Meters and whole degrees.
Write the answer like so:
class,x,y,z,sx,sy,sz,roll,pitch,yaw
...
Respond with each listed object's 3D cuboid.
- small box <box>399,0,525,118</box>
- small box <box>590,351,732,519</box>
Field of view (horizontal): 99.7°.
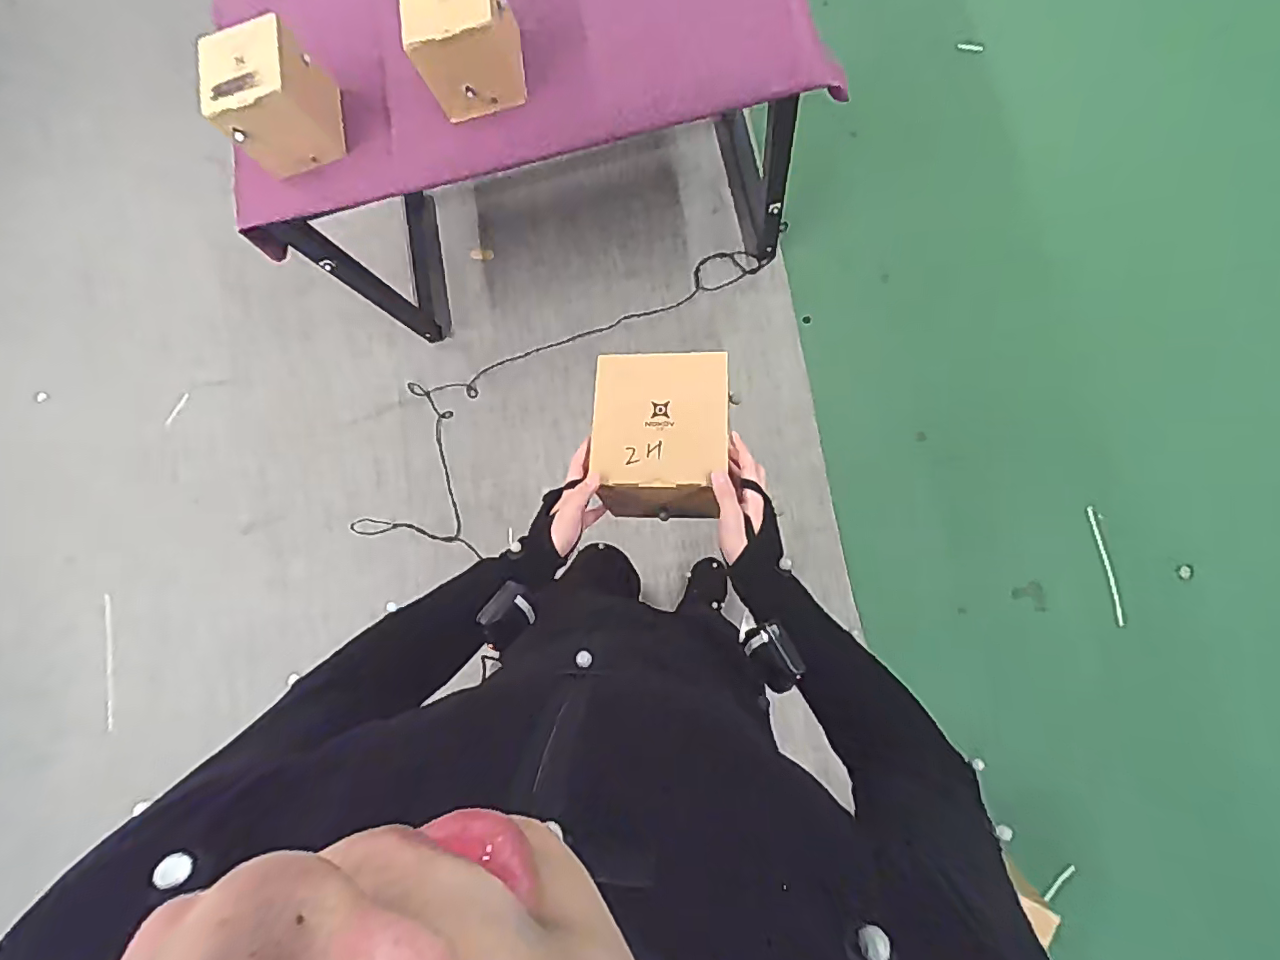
class,x,y,z,sx,sy,sz,roll,pitch,yaw
small box,-0.325,-0.826,1.004,0.168,0.176,0.179,-10,81,7
small box,0.036,-0.055,0.729,0.168,0.176,0.179,1,73,8
